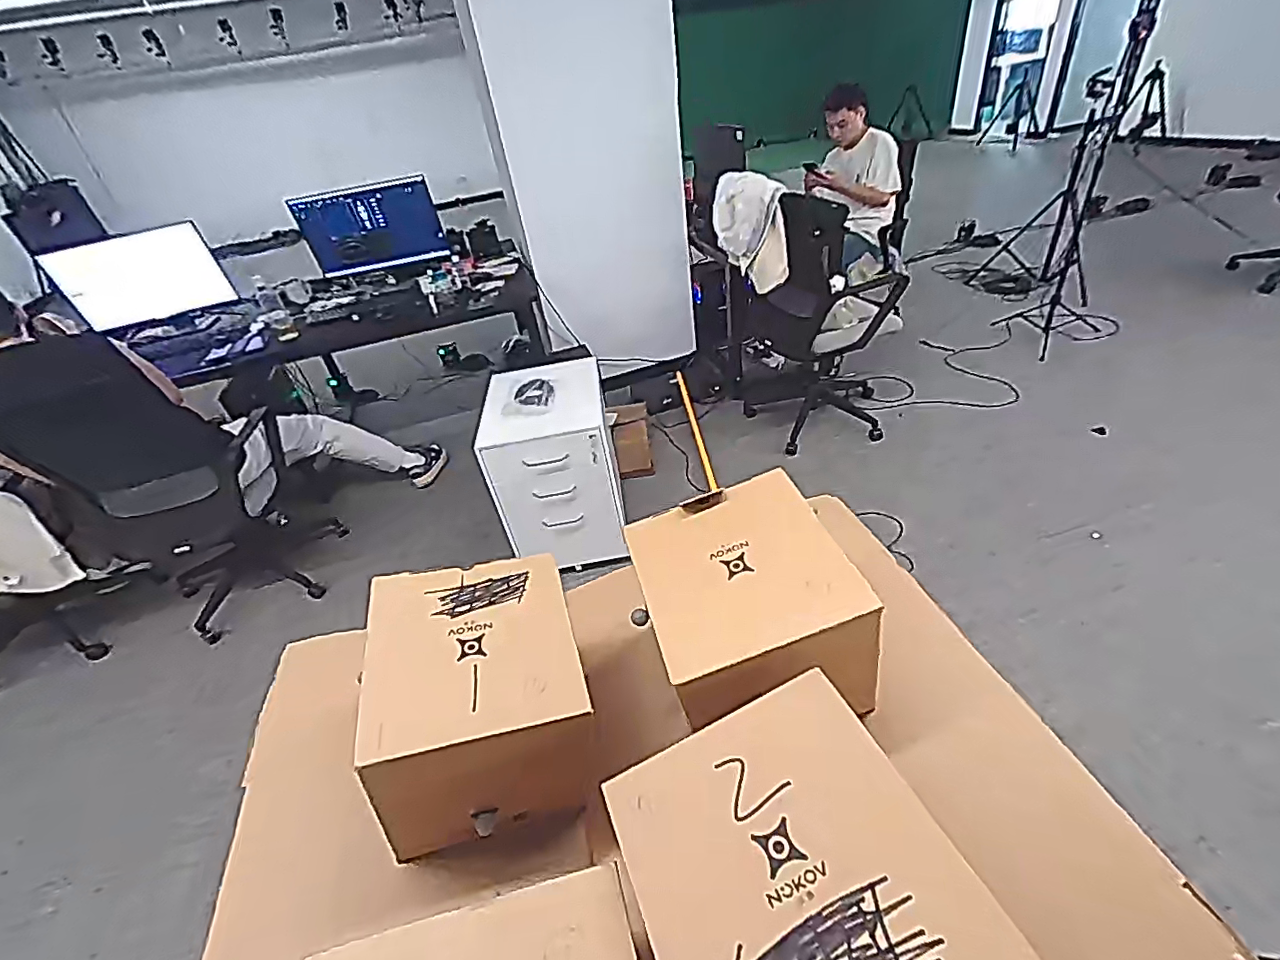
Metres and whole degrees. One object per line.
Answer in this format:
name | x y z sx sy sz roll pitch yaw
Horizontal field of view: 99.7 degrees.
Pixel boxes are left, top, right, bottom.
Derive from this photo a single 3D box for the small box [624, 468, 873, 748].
small box | 0.100 0.125 0.511 0.168 0.176 0.179 -20 39 -1
